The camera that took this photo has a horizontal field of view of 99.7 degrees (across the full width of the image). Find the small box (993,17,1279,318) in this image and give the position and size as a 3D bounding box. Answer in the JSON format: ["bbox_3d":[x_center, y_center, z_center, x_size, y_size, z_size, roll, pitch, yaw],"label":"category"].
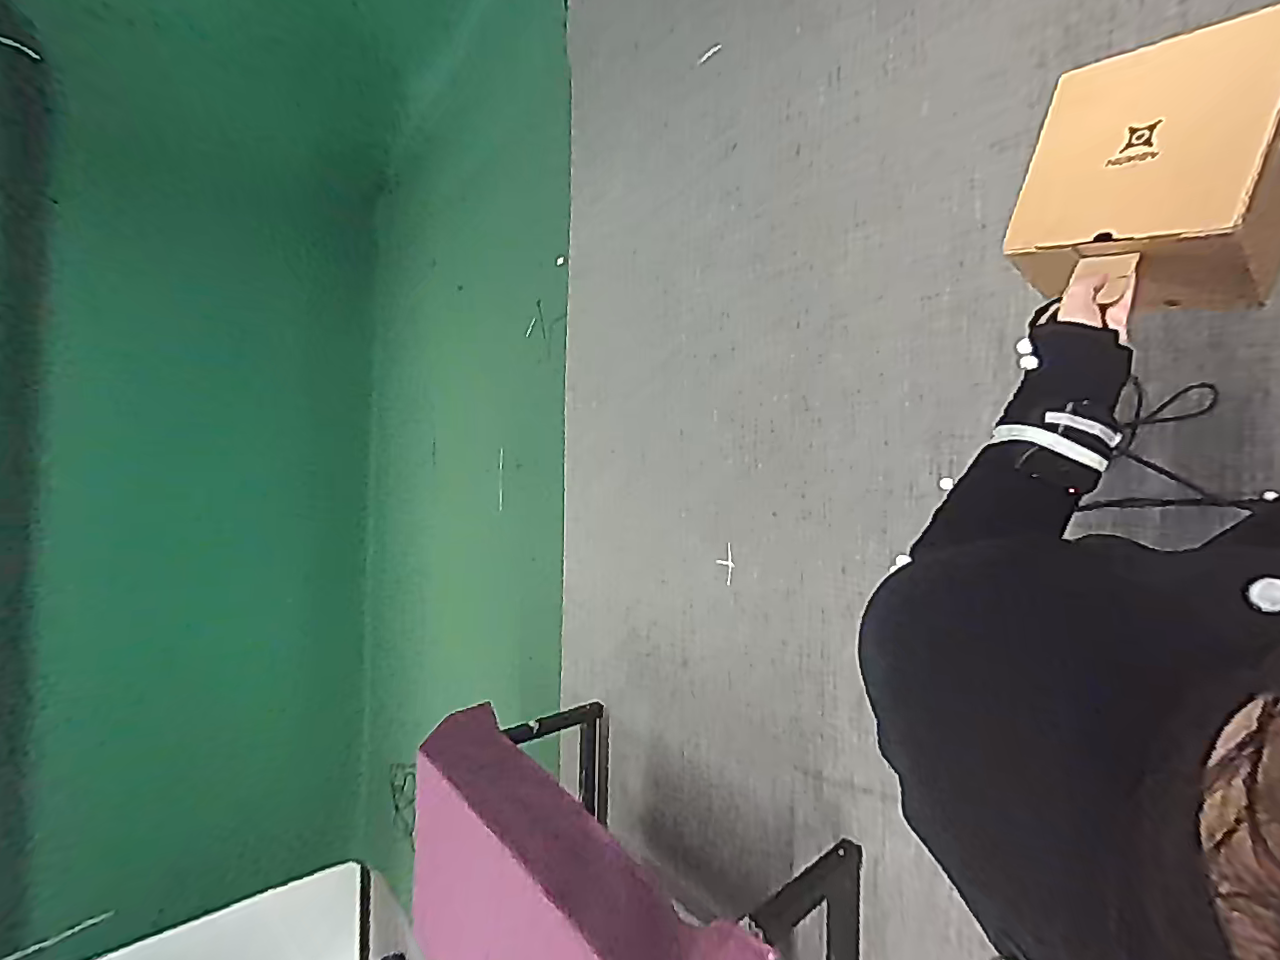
[{"bbox_3d":[0.486,-0.272,0.519,0.168,0.176,0.179,24,100,53],"label":"small box"}]
